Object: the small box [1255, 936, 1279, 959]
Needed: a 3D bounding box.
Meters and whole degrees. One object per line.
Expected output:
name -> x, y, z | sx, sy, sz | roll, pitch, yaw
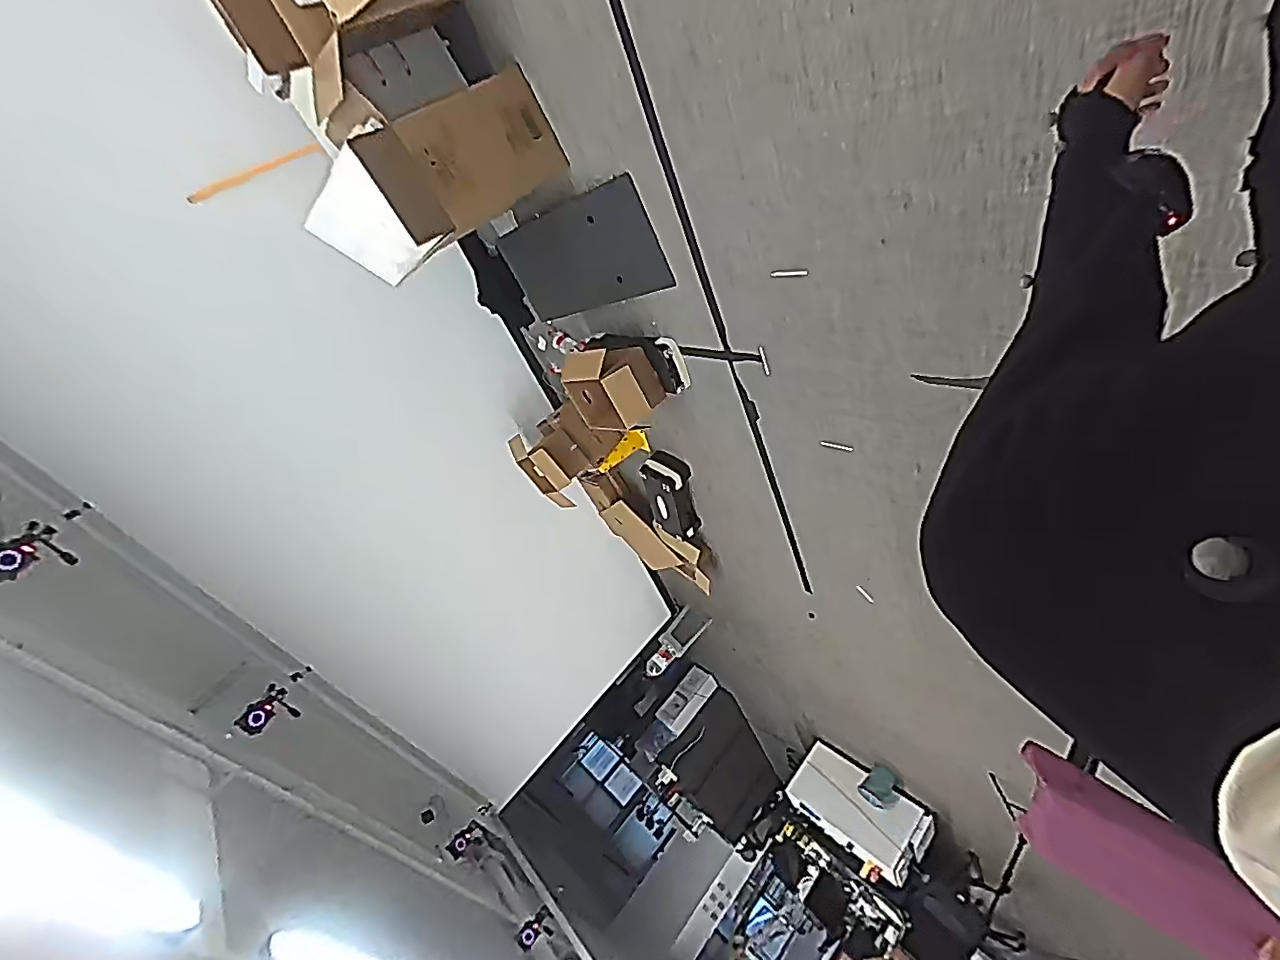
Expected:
small box -> 1.631, 1.264, 1.317 | 0.179, 0.176, 0.168 | 20, 148, 49
